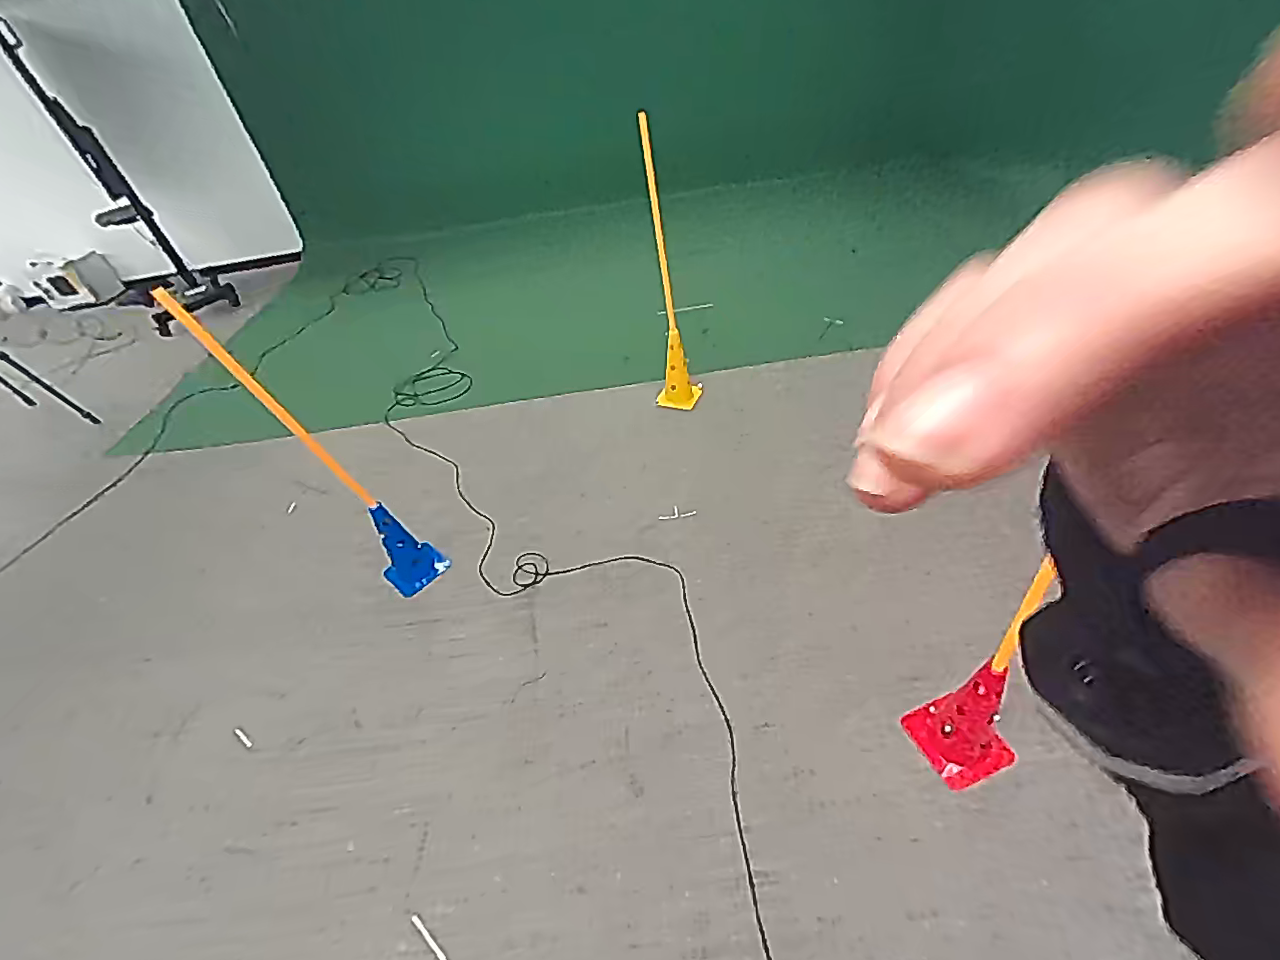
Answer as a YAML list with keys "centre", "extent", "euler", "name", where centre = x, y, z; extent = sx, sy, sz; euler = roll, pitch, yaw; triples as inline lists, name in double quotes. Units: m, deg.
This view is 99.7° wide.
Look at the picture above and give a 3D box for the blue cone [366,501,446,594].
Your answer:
- centre: [-0.872, 0.220, 1.936]
  extent: [0.192, 0.380, 0.193]
  euler: [26, 55, 32]
  name: "blue cone"
